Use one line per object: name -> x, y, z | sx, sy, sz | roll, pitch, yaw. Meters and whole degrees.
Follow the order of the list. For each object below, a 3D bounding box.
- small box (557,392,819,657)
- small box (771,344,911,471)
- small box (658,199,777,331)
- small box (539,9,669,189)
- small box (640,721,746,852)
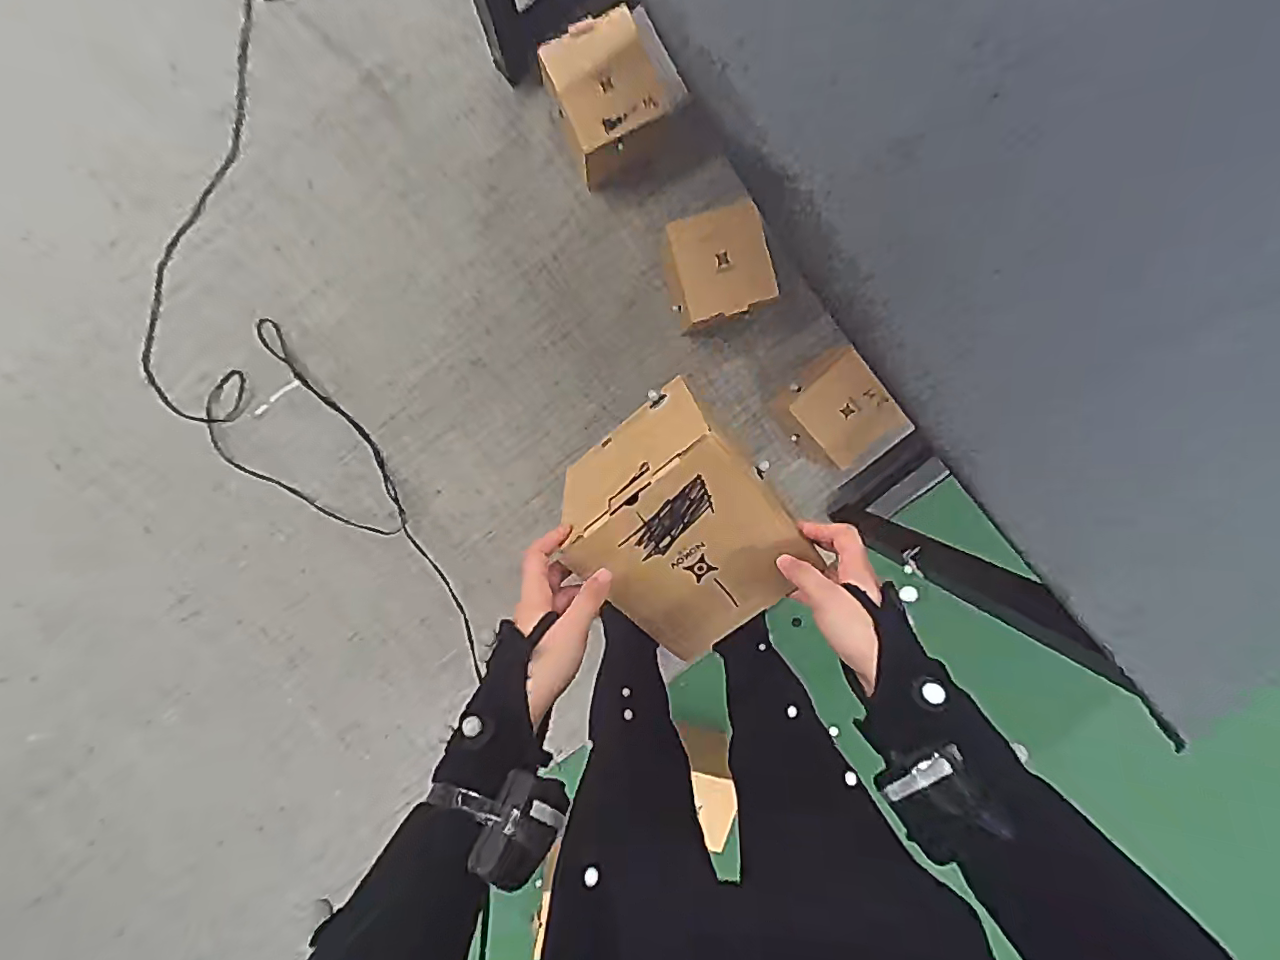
small box -> 0.039, 0.031, 0.542 | 0.168, 0.176, 0.179 | -39, 111, 15
small box -> 0.381, -0.143, 1.070 | 0.179, 0.176, 0.168 | -43, 99, 4
small box -> 0.139, -0.391, 1.022 | 0.168, 0.176, 0.179 | -18, 98, -1
small box -> -0.063, -0.668, 0.971 | 0.168, 0.176, 0.179 | -26, 98, 1
small box -> 0.106, 0.655, 1.174 | 0.179, 0.176, 0.168 | 16, 97, -5
